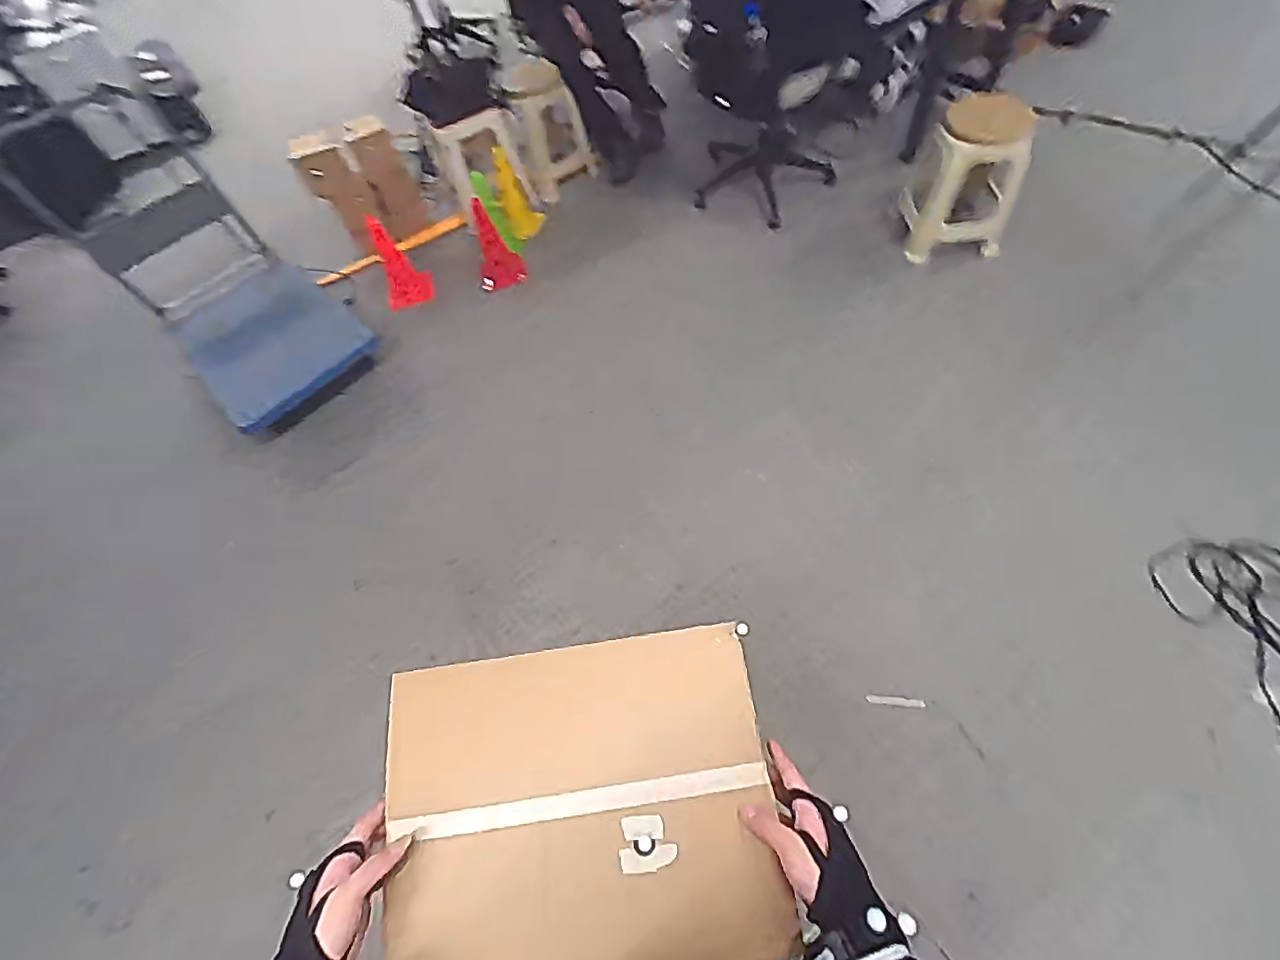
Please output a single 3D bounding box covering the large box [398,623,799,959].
[{"bbox_3d":[-0.054,0.399,0.718,0.408,0.320,0.320,-8,67,-1],"label":"large box"}]
